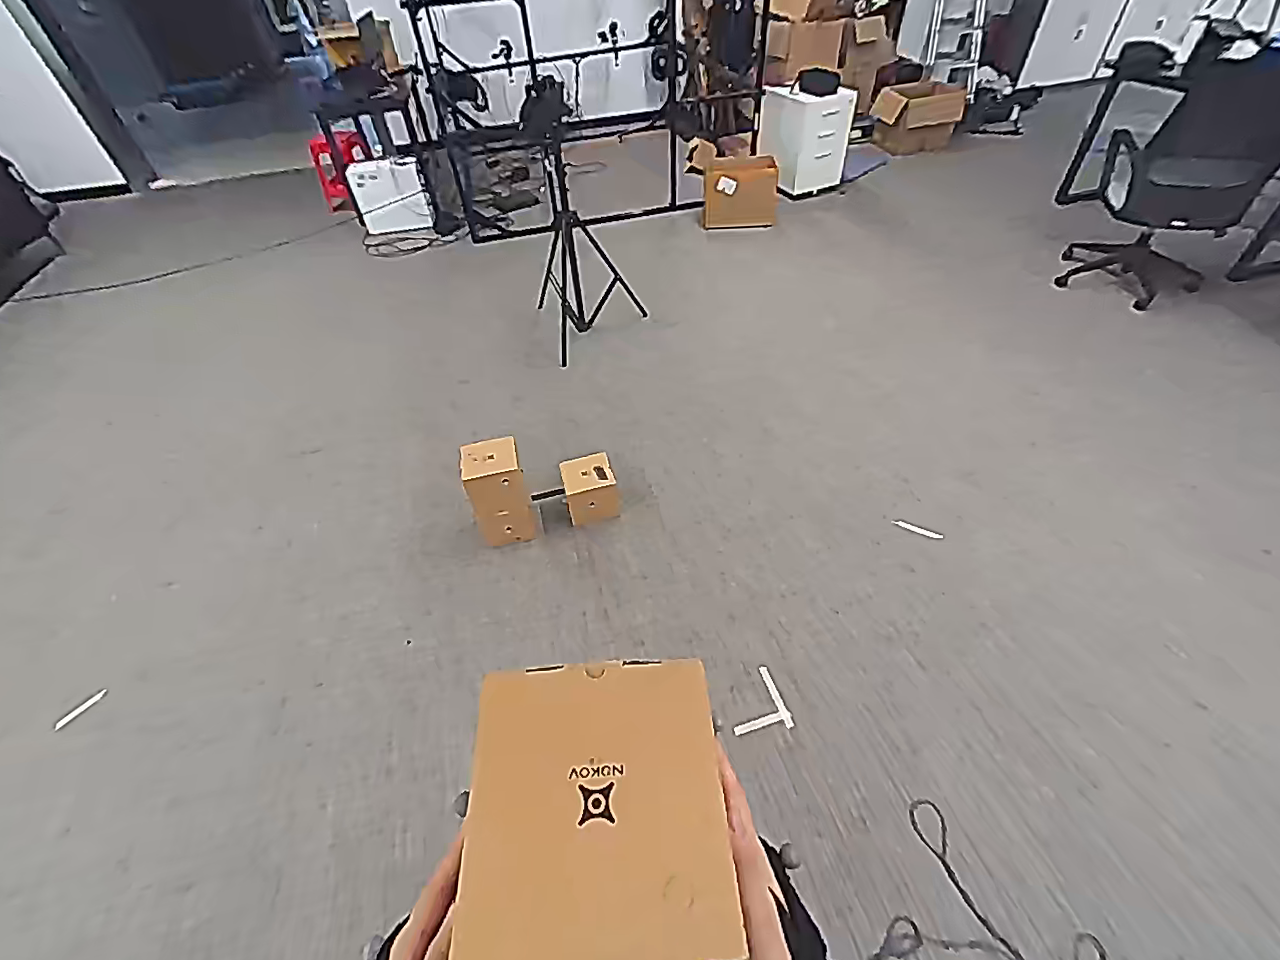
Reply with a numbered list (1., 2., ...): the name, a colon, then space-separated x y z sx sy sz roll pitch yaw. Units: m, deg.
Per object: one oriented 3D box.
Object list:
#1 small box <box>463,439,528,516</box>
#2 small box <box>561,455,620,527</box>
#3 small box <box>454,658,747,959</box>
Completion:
1. small box: -0.467 -0.006 1.765 0.179 0.176 0.168 -13 46 -7
2. small box: -0.173 0.041 1.924 0.179 0.176 0.168 -14 47 -7
3. small box: -0.027 0.257 0.407 0.168 0.176 0.179 -3 47 -4
